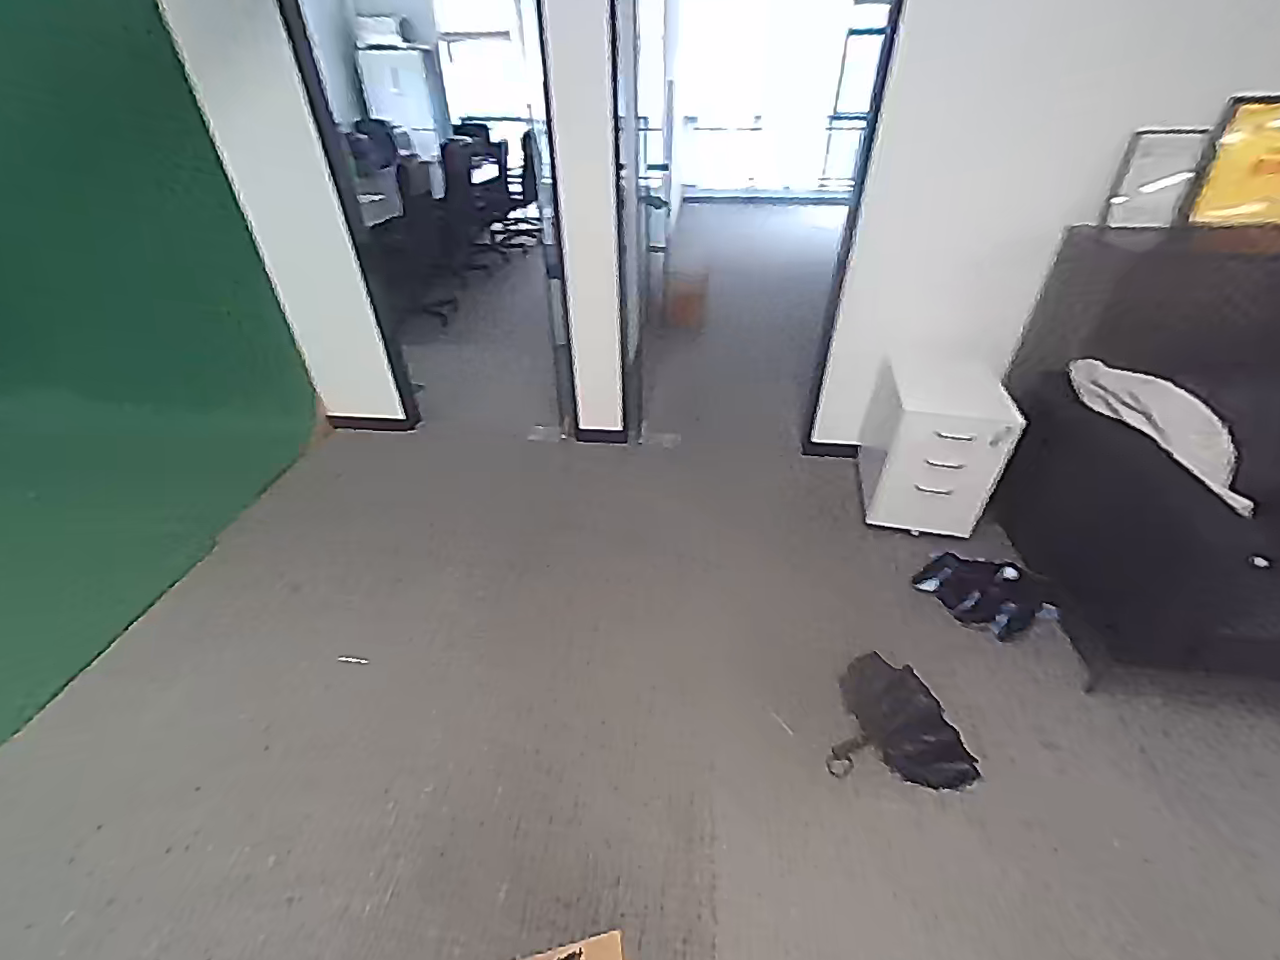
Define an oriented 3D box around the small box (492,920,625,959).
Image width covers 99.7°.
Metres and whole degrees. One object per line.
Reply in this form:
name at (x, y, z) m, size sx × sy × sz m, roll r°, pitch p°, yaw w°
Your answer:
small box at (-0.077, 0.636, 0.570) m, size 0.168 × 0.176 × 0.179 m, roll -13°, pitch 6°, yaw -7°
